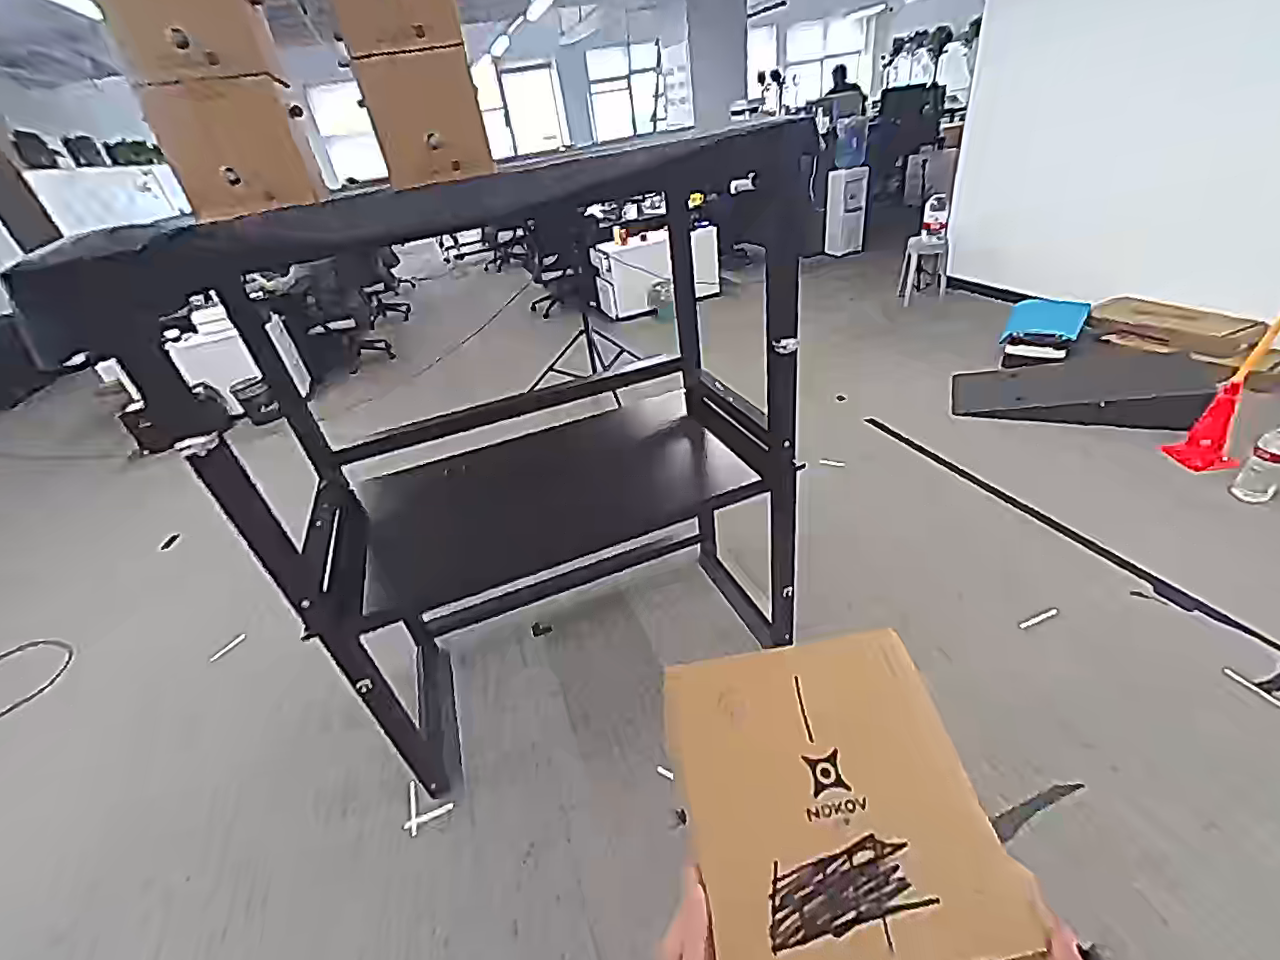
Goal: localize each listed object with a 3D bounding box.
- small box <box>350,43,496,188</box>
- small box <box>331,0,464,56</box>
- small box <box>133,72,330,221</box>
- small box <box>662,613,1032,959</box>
[{"bbox_3d":[-0.344,-0.583,0.882,0.168,0.176,0.179,-18,33,-11],"label":"small box"},{"bbox_3d":[-0.367,-0.722,0.797,0.168,0.176,0.179,-17,33,-12],"label":"small box"},{"bbox_3d":[-0.596,-0.498,0.822,0.168,0.176,0.179,-18,33,-14],"label":"small box"},{"bbox_3d":[0.111,0.218,0.381,0.168,0.176,0.179,-8,52,-3],"label":"small box"}]
